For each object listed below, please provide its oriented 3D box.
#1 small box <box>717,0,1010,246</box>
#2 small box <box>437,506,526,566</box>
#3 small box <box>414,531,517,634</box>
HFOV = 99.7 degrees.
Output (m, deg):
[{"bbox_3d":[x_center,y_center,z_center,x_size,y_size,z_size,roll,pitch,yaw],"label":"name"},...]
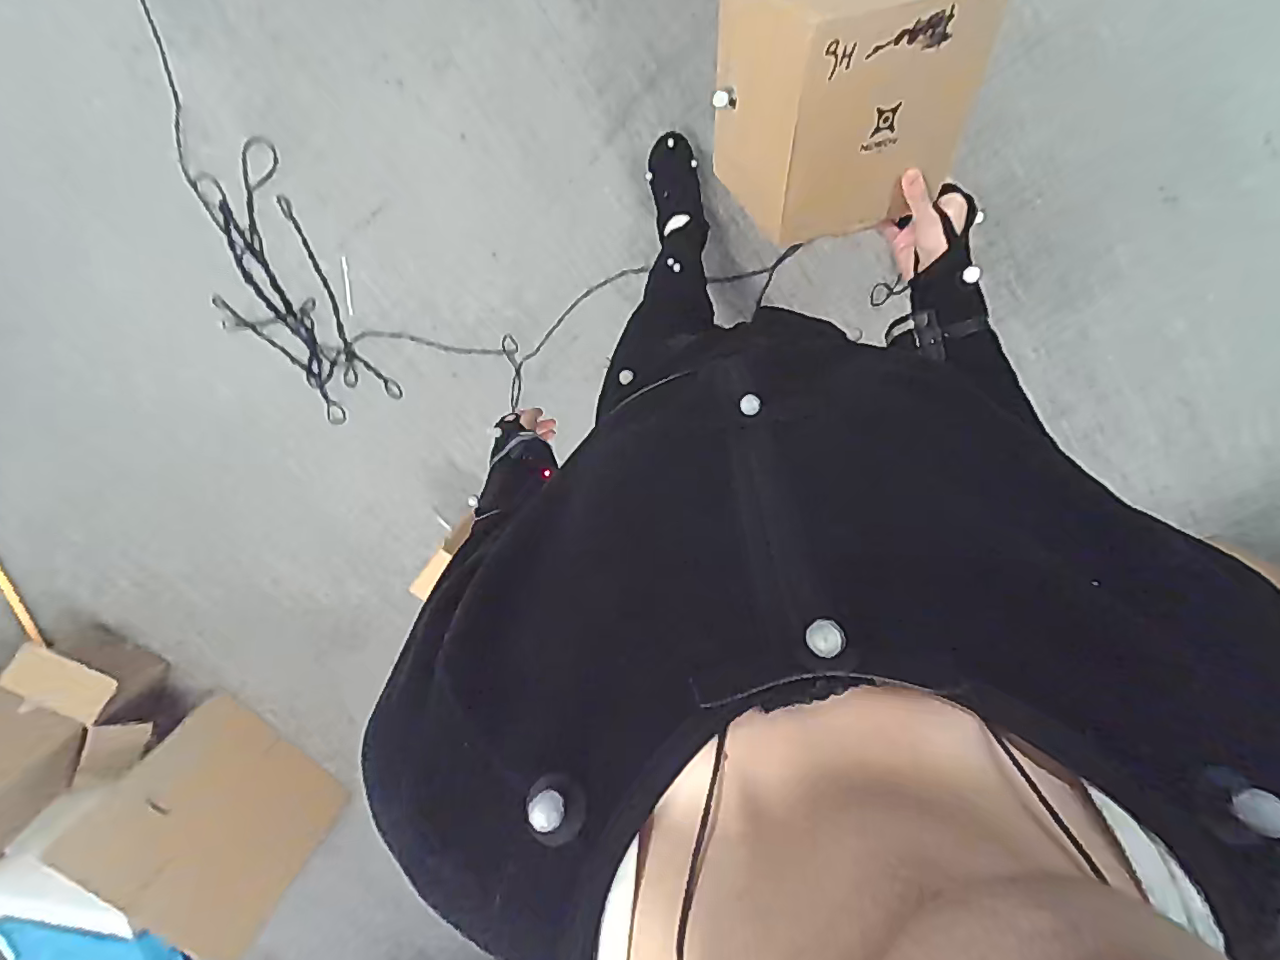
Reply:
[{"bbox_3d":[0.177,-0.353,0.495,0.168,0.176,0.179,-17,145,-6],"label":"small box"},{"bbox_3d":[-0.457,0.208,1.600,0.168,0.176,0.179,43,110,-12],"label":"small box"},{"bbox_3d":[-0.457,0.269,1.448,0.179,0.176,0.168,39,110,-11],"label":"small box"}]
